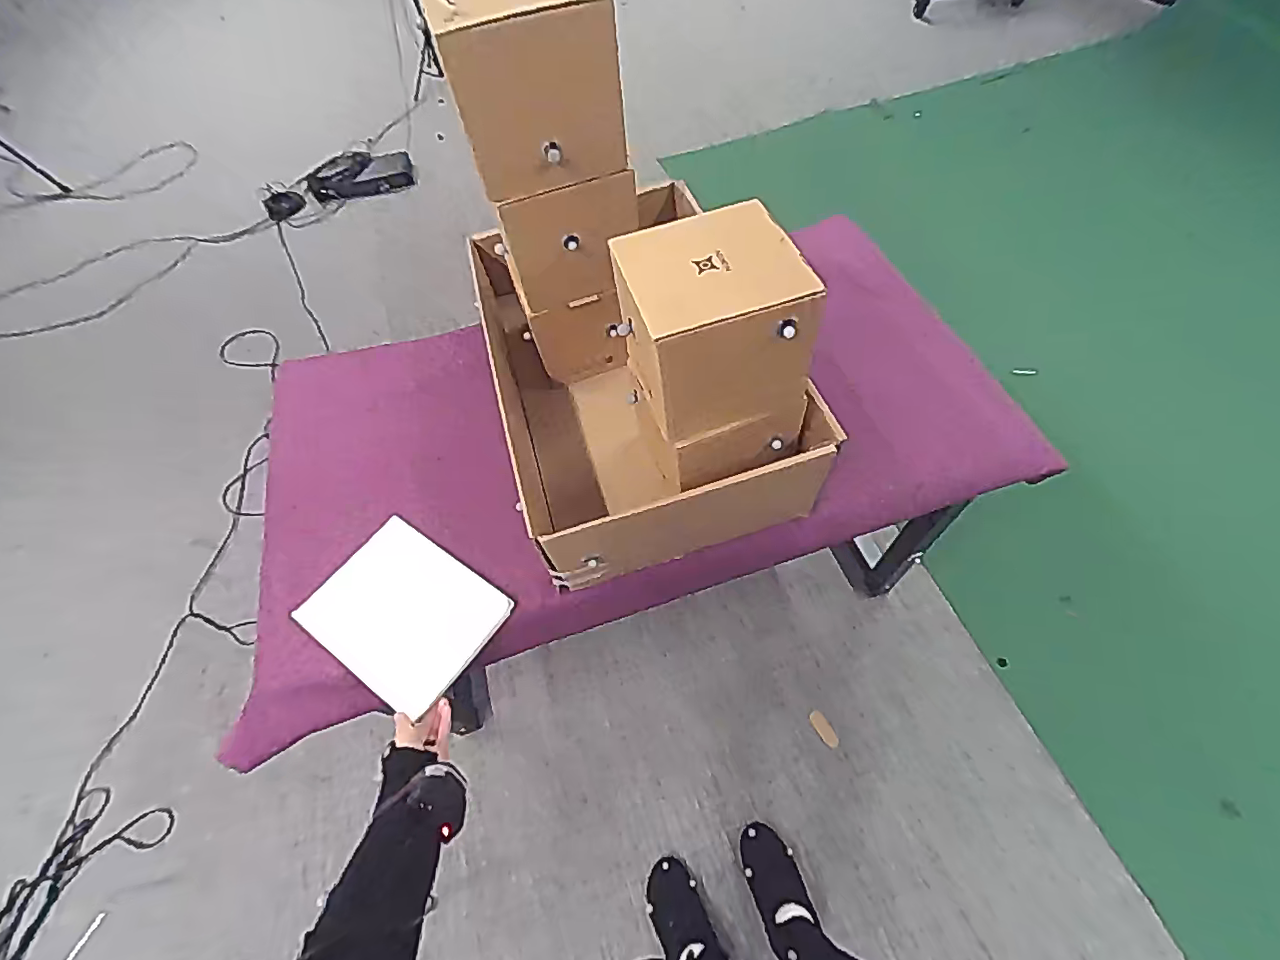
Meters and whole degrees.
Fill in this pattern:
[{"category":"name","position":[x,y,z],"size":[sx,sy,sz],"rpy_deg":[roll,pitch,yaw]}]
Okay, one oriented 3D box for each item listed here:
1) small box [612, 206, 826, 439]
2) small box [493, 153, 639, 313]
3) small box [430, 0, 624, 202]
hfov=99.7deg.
[{"category":"small box","position":[0.082,-0.171,0.612],"size":[0.179,0.176,0.168],"rpy_deg":[-17,57,-5]},{"category":"small box","position":[-0.105,-0.366,0.754],"size":[0.179,0.176,0.168],"rpy_deg":[-19,60,-6]},{"category":"small box","position":[-0.120,-0.452,0.615],"size":[0.179,0.176,0.168],"rpy_deg":[-17,59,-6]}]
